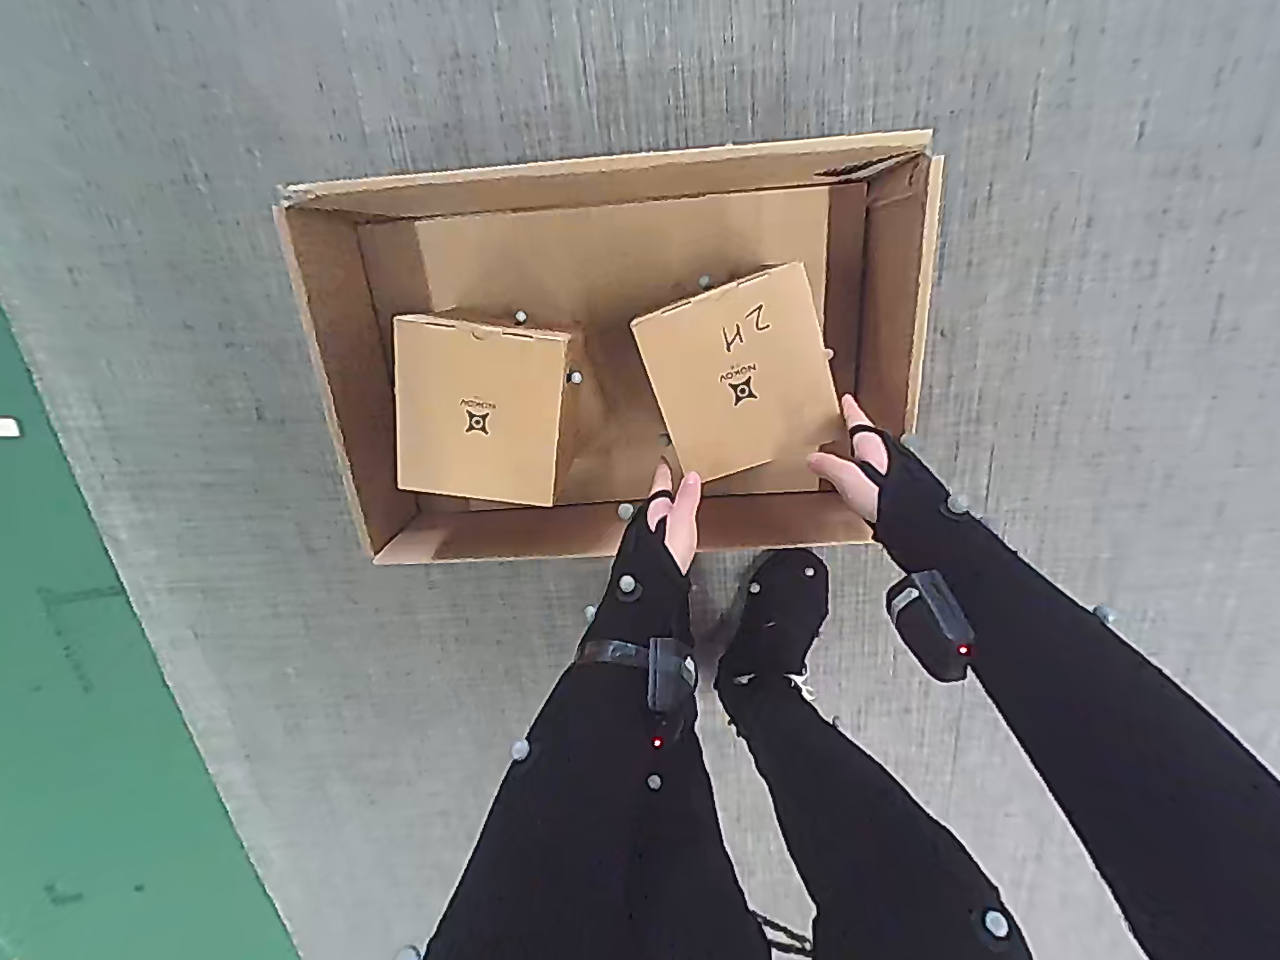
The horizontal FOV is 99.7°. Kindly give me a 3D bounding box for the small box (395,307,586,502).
[{"bbox_3d":[-0.157,-0.094,0.611,0.168,0.176,0.179,7,108,-1],"label":"small box"}]

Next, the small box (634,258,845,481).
[{"bbox_3d":[0.102,-0.125,0.588,0.168,0.176,0.179,-18,108,9],"label":"small box"}]
